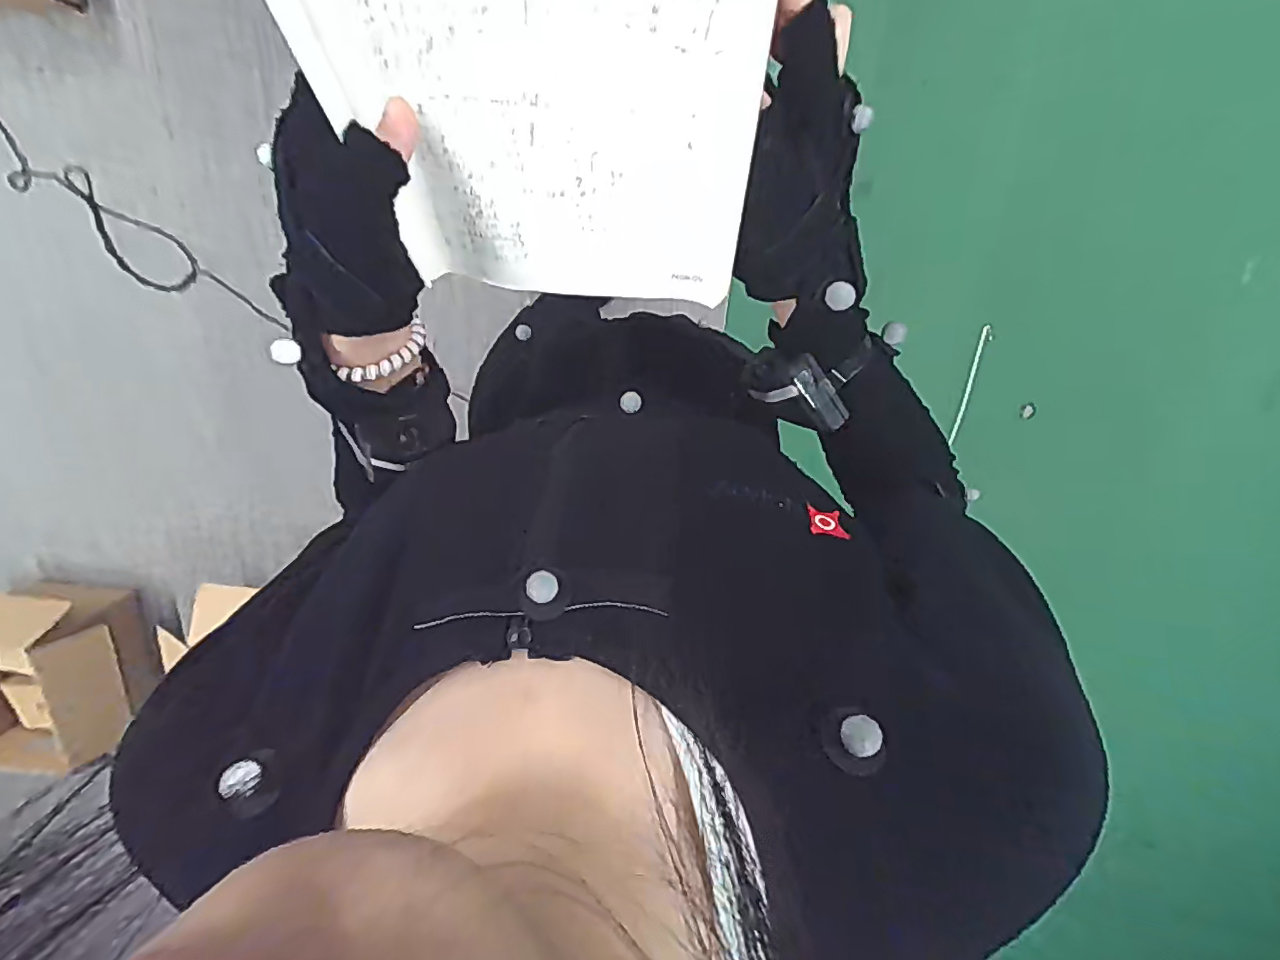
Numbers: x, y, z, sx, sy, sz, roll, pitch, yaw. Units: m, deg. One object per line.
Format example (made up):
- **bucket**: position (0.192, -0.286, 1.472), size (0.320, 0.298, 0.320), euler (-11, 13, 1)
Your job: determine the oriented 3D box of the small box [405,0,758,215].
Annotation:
- **small box**: position (-0.022, -0.270, 0.312), size (0.168, 0.176, 0.179), euler (-1, 129, 7)
